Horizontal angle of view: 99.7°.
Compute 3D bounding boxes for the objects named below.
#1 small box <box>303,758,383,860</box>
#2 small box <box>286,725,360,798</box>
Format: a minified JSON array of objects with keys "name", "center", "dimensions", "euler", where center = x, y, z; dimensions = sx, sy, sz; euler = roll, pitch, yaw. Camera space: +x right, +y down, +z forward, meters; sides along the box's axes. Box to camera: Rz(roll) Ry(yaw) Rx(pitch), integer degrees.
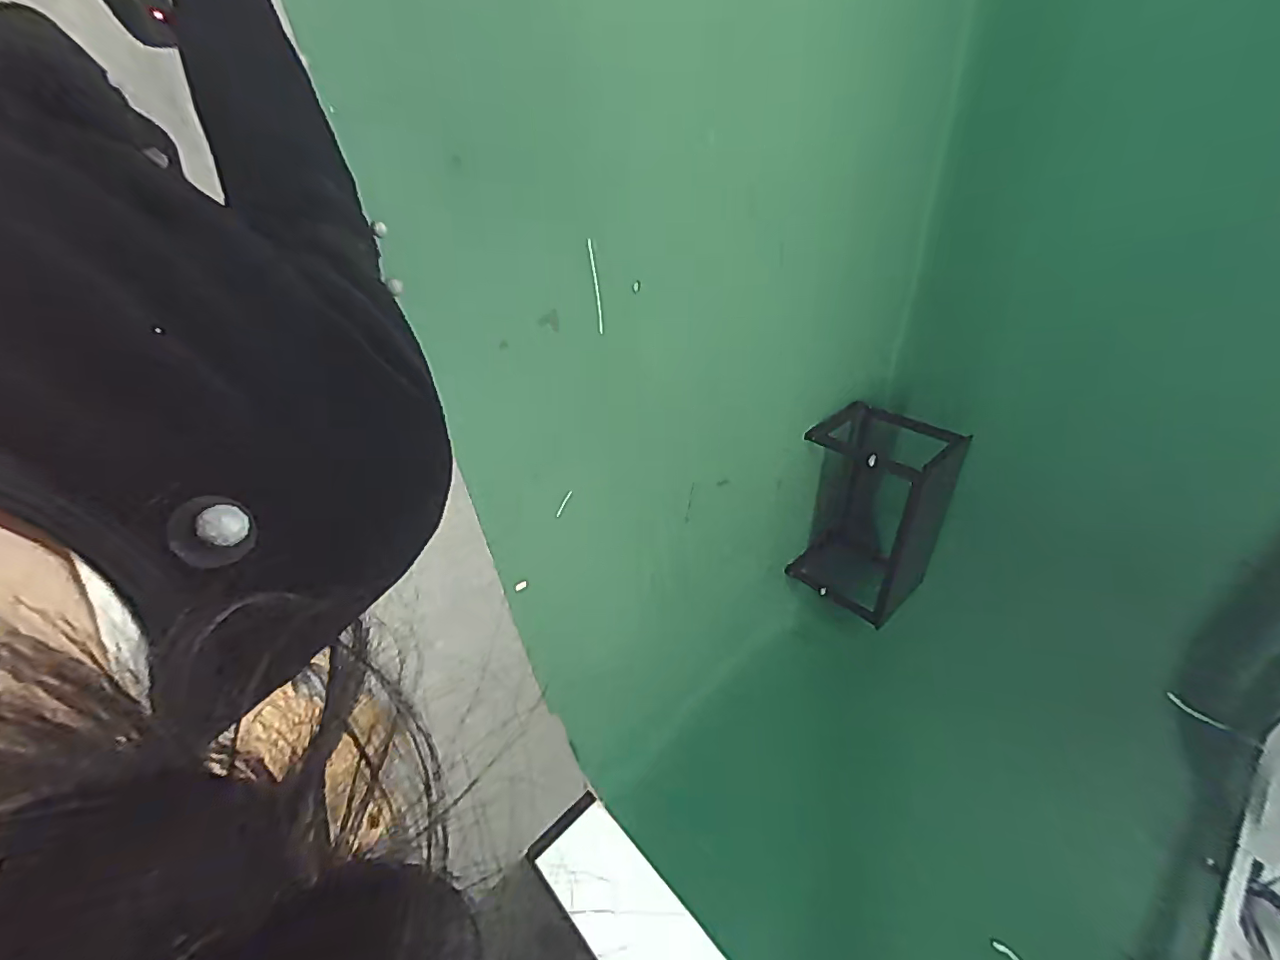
[{"name":"small box","center":[-0.917,1.006,1.673],"dimensions":[0.179,0.176,0.168],"euler":[-14,124,-41]},{"name":"small box","center":[-1.027,0.942,1.777],"dimensions":[0.168,0.176,0.179],"euler":[-31,134,-30]}]
